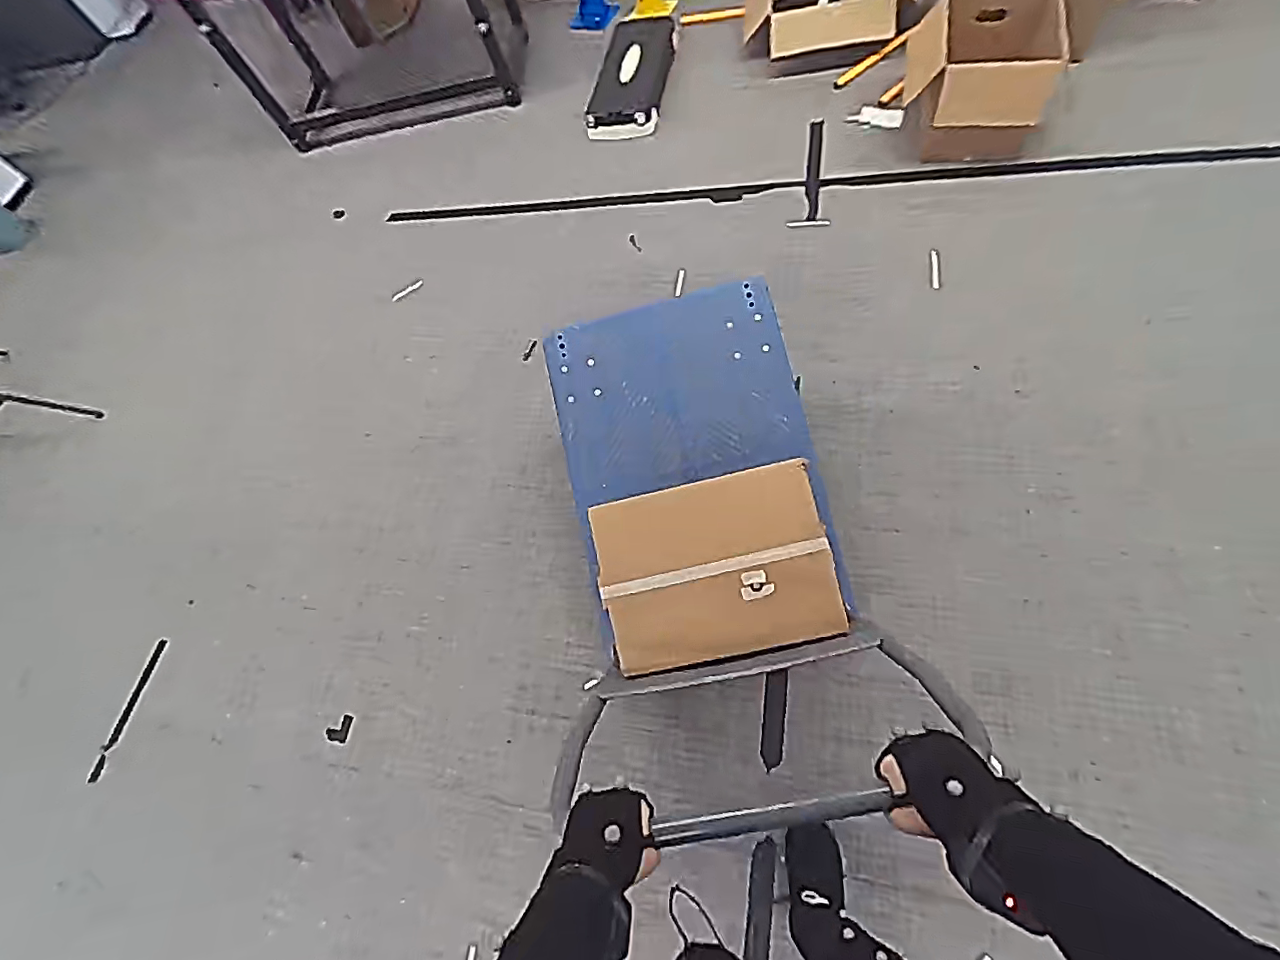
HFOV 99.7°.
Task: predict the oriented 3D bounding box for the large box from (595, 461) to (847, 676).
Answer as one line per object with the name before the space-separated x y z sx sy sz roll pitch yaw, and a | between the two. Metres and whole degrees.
large box | 0.154 0.180 1.129 0.408 0.320 0.320 -14 82 5
